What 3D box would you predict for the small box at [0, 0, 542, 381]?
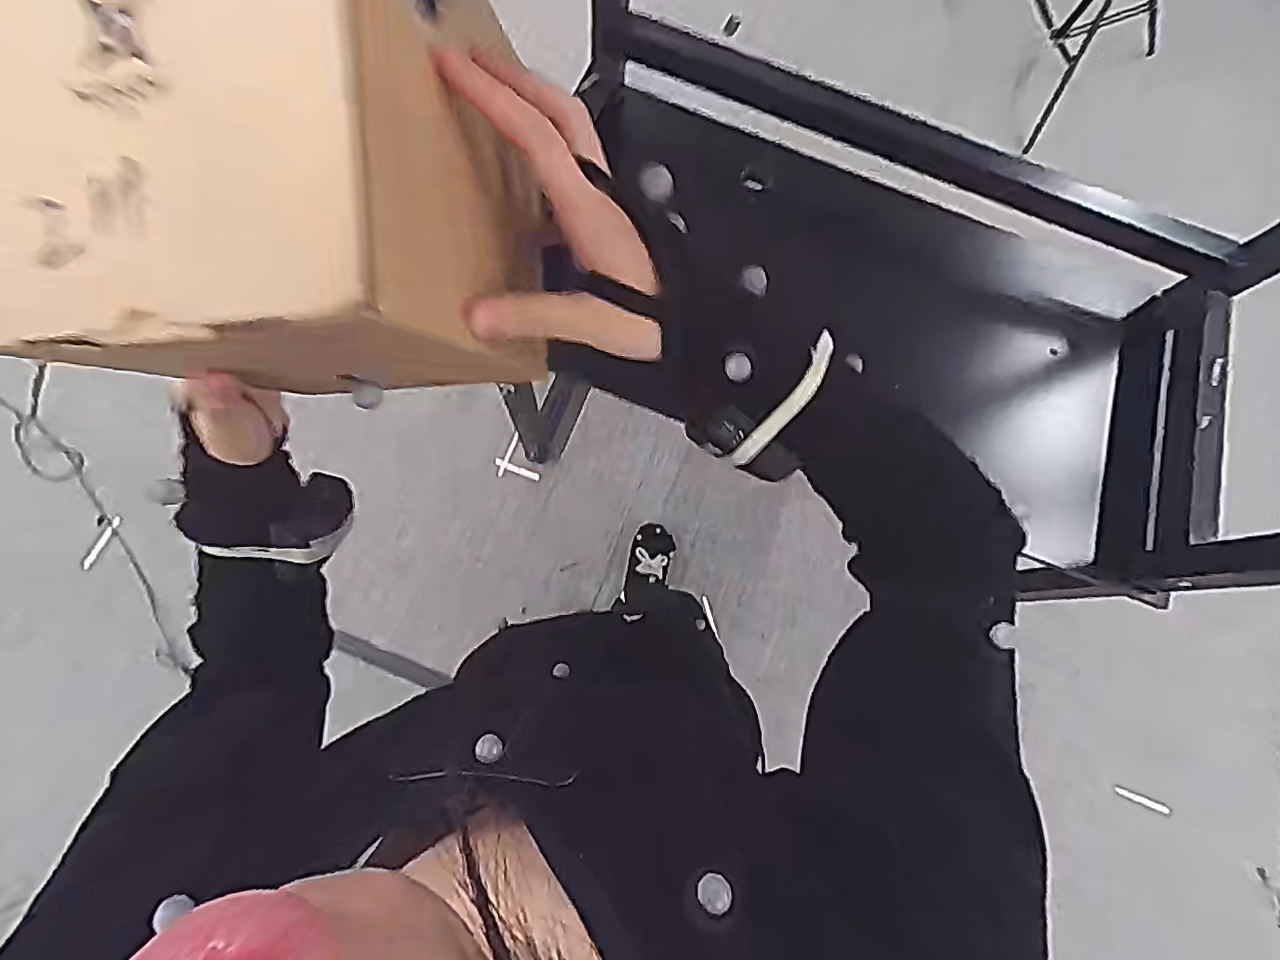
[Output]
[{"bbox_3d":[-0.150,-0.145,0.237,0.168,0.176,0.179,-2,94,9],"label":"small box"}]
